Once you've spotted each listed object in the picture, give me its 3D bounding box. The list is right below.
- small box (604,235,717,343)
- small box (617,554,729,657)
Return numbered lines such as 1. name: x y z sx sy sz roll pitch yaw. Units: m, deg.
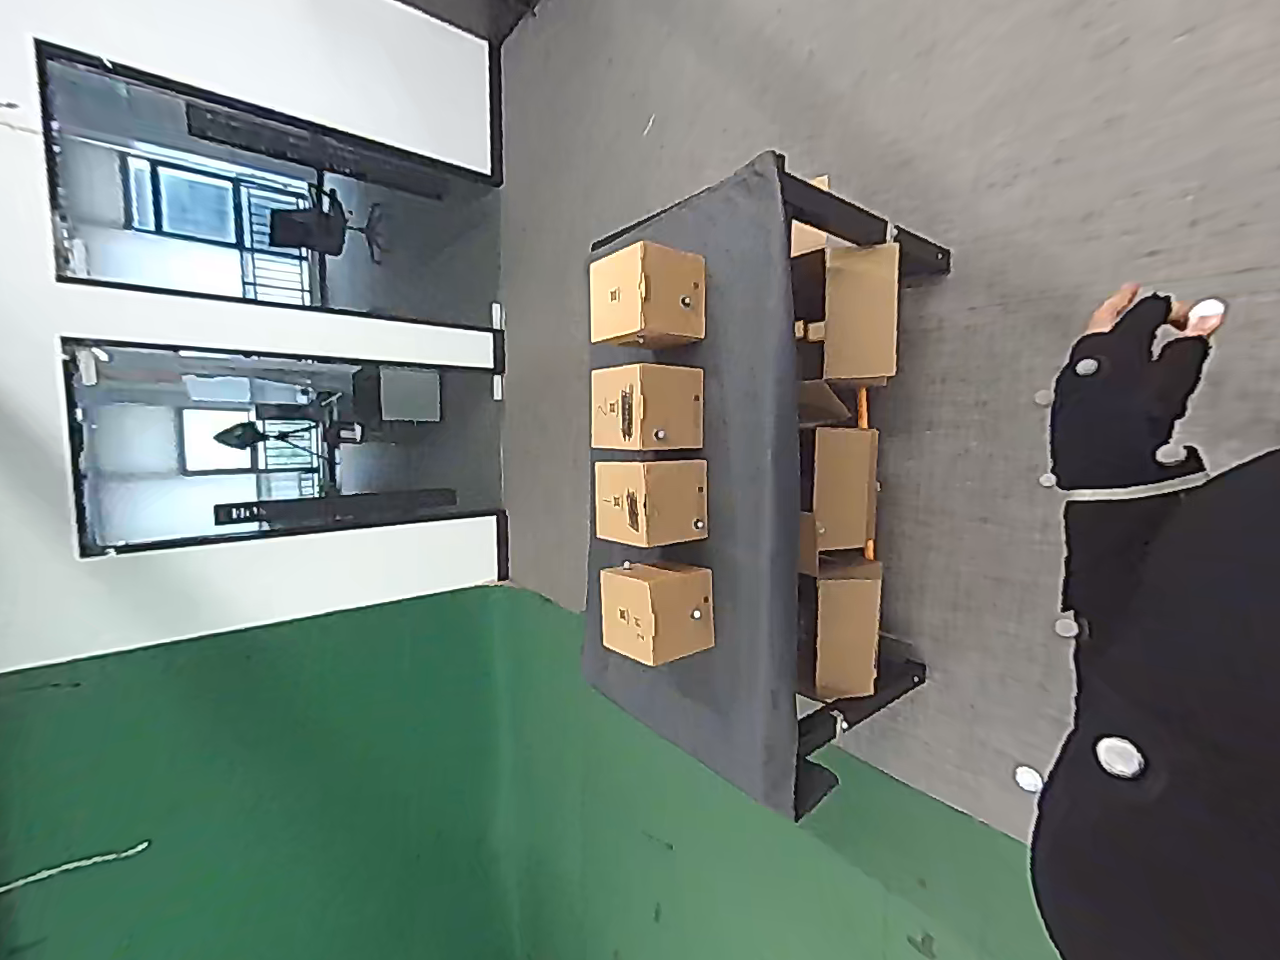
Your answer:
1. small box: 0.041 -0.384 1.124 0.179 0.176 0.168 5 98 53
2. small box: 0.070 0.256 1.154 0.179 0.176 0.168 0 94 53
